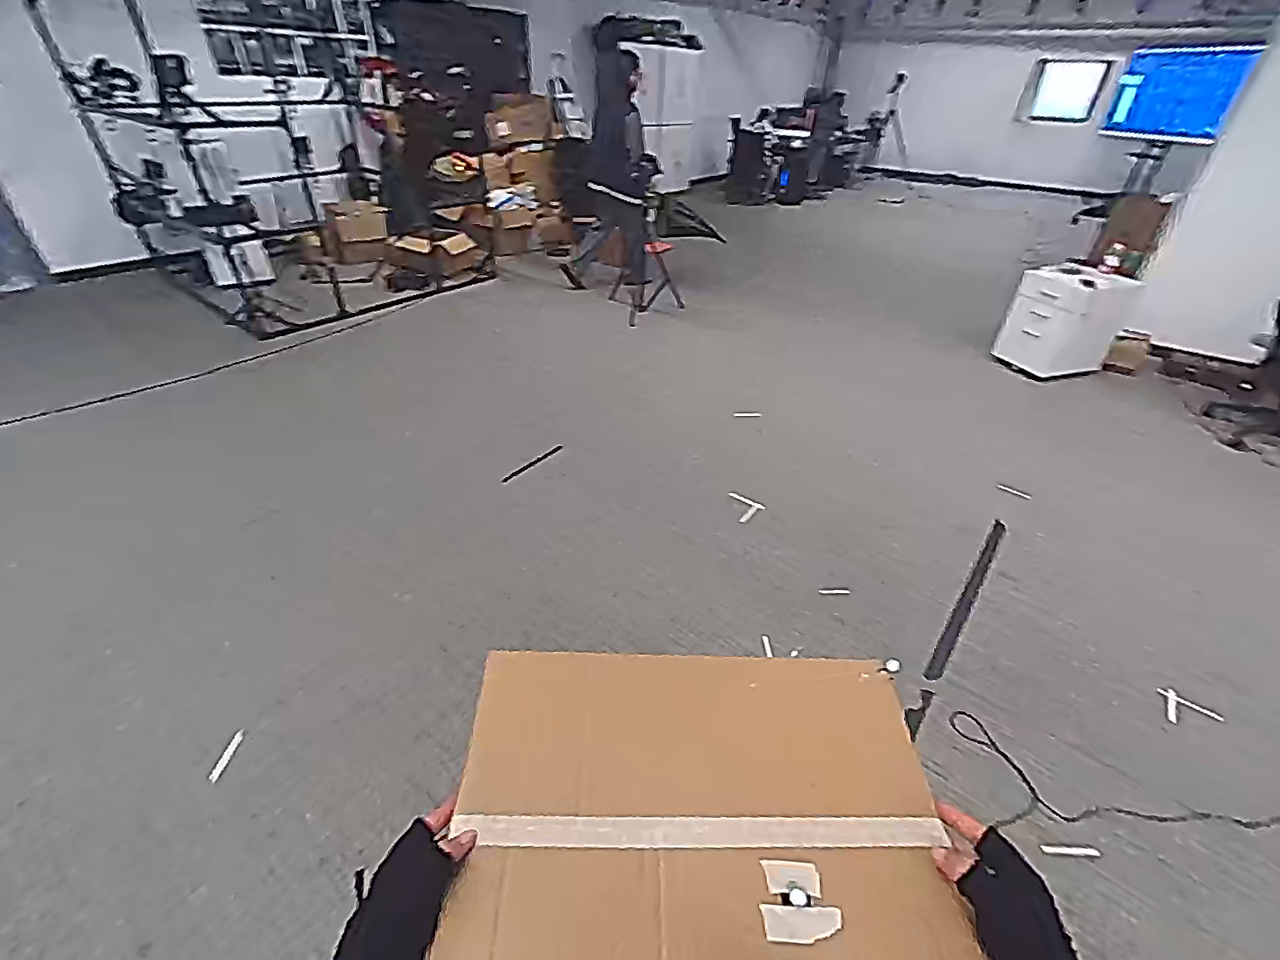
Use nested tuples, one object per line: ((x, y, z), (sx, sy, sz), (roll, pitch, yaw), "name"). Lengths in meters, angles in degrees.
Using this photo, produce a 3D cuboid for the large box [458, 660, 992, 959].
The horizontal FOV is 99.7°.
((0.056, 0.406, 0.553), (0.408, 0.320, 0.320), (3, 44, -2), "large box")
